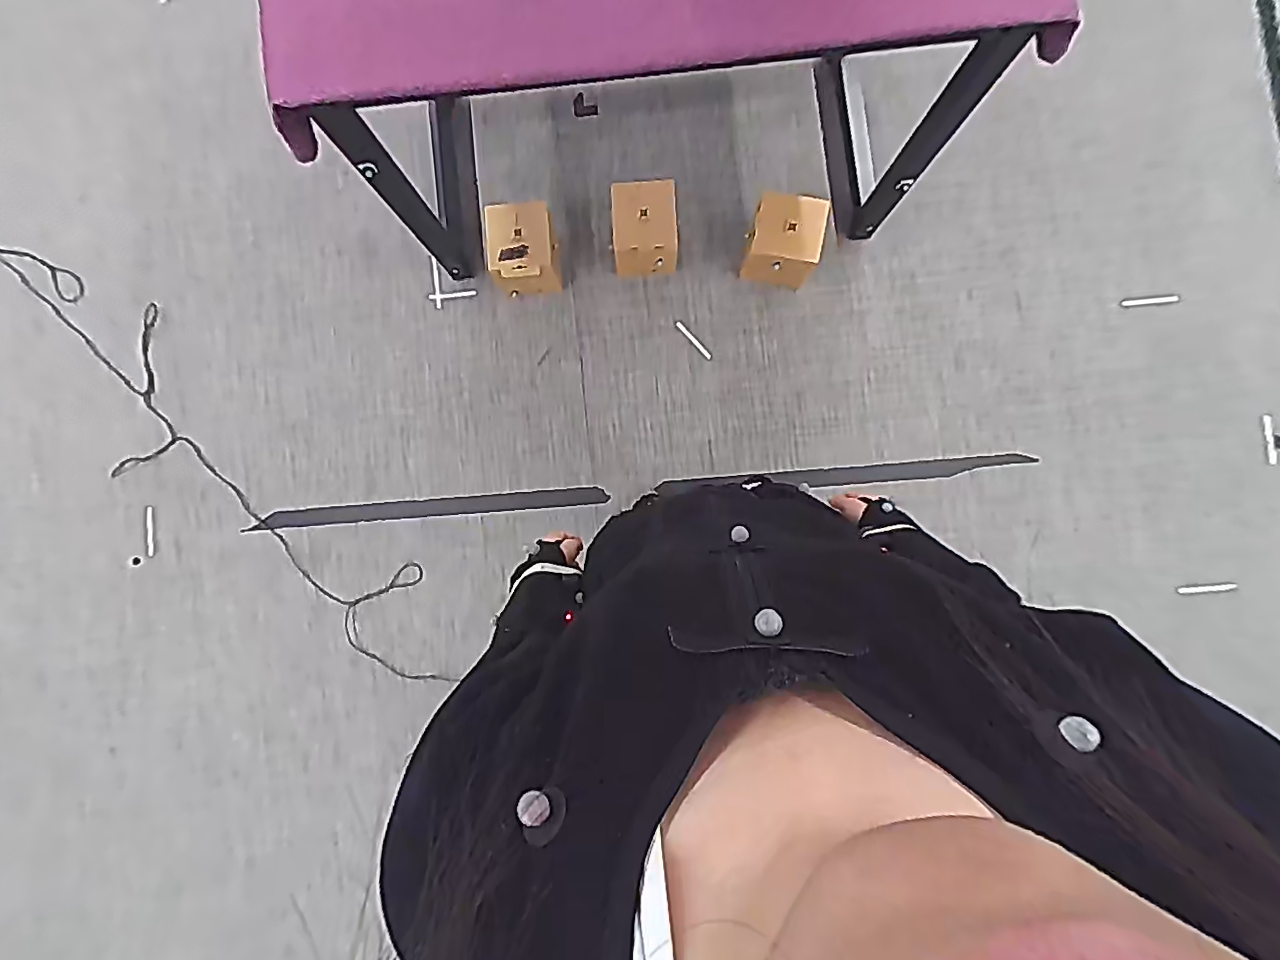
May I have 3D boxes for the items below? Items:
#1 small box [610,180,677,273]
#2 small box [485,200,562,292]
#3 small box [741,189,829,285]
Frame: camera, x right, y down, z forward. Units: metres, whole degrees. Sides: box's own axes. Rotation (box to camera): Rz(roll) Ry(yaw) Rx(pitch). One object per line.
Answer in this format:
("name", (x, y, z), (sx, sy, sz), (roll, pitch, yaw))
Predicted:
("small box", (0.011, -0.673, 1.457), (0.168, 0.176, 0.179), (-4, 87, 0))
("small box", (-0.309, -0.620, 1.459), (0.168, 0.176, 0.179), (-4, 87, 1))
("small box", (0.382, -0.641, 1.449), (0.179, 0.176, 0.168), (12, 89, 3))
